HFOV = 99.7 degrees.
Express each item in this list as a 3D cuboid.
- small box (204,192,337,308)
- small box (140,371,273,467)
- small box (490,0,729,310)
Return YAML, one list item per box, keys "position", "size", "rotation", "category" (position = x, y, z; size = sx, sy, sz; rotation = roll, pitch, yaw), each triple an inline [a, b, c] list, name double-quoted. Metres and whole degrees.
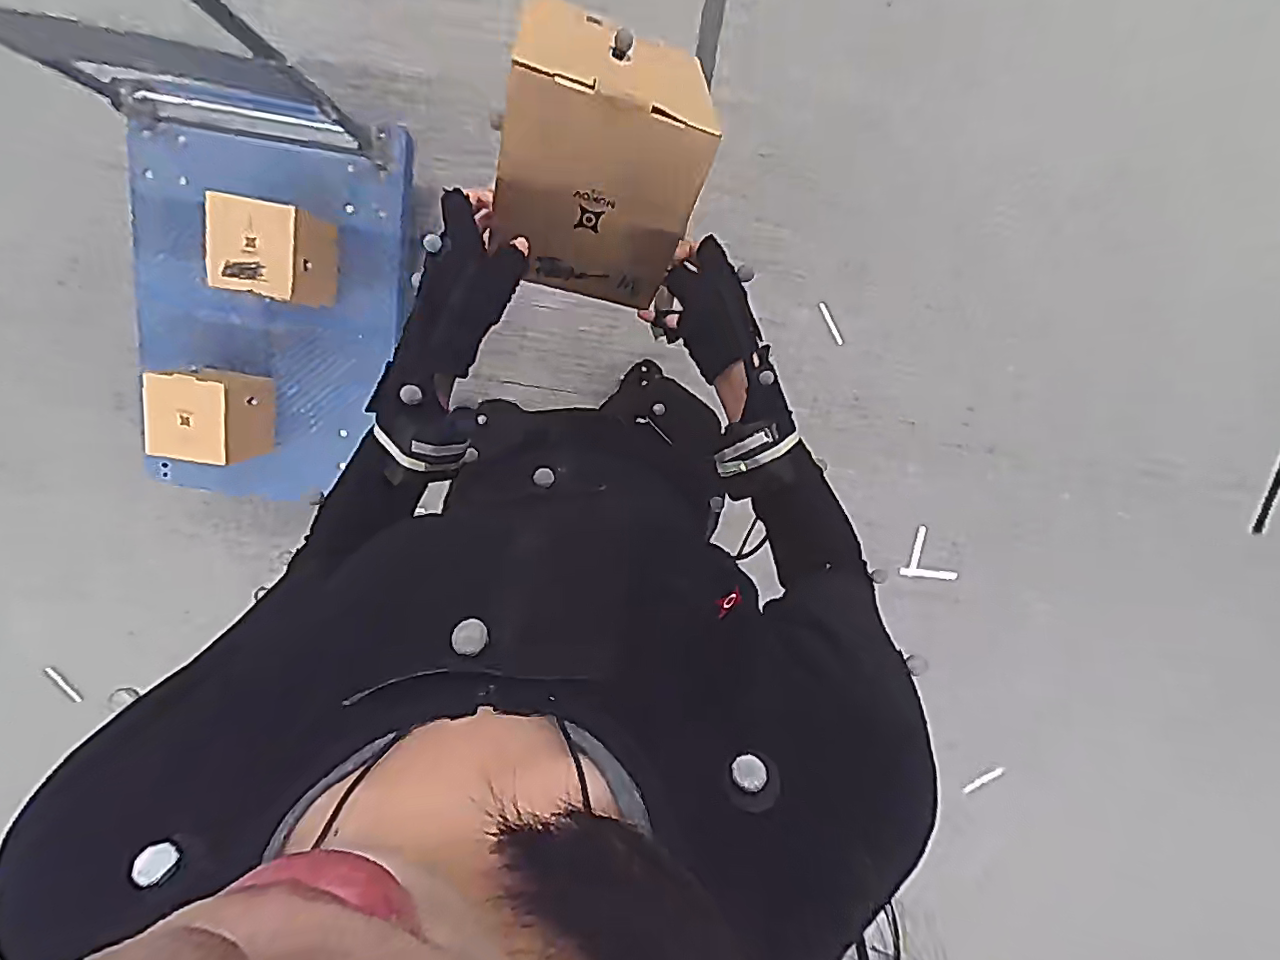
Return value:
- position: [-0.754, -0.462, 1.116]
  size: [0.168, 0.176, 0.179]
  rotation: [10, 102, -4]
  category: "small box"
- position: [-0.941, -0.141, 1.187]
  size: [0.168, 0.176, 0.179]
  rotation: [9, 103, -3]
  category: "small box"
- position: [-0.039, -0.300, 0.510]
  size: [0.168, 0.176, 0.179]
  rotation: [10, 143, -18]
  category: "small box"
